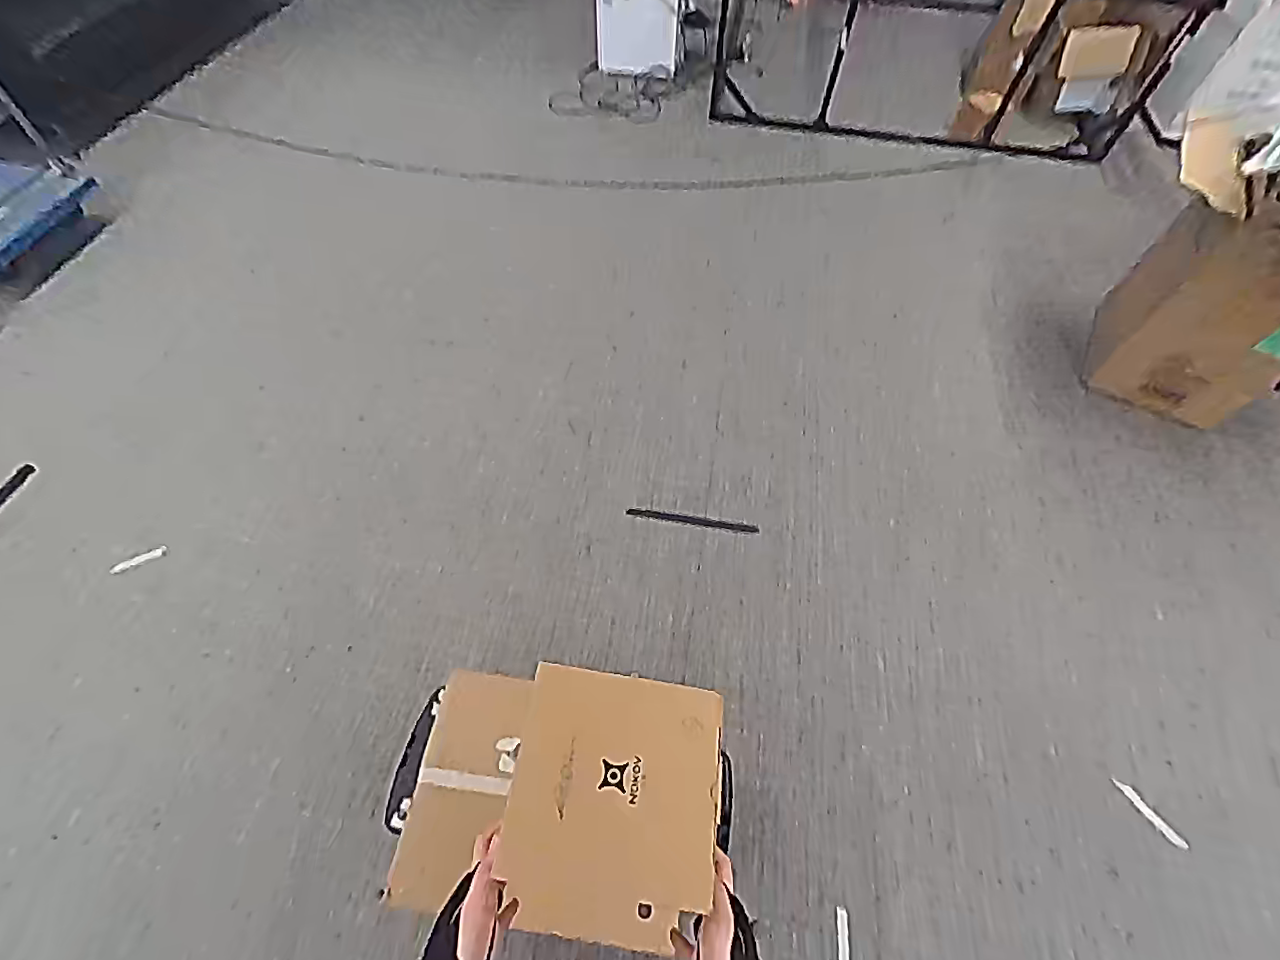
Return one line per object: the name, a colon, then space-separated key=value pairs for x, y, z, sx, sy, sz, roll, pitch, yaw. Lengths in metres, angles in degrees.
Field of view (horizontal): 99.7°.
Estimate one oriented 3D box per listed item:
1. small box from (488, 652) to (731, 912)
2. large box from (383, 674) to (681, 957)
small box: x=-0.024 y=0.280 z=0.511 sx=0.179 sy=0.176 sz=0.168 roll=10 pitch=57 yaw=0
large box: x=-0.129 y=0.546 z=0.915 sx=0.408 sy=0.320 sz=0.320 roll=7 pitch=57 yaw=4
